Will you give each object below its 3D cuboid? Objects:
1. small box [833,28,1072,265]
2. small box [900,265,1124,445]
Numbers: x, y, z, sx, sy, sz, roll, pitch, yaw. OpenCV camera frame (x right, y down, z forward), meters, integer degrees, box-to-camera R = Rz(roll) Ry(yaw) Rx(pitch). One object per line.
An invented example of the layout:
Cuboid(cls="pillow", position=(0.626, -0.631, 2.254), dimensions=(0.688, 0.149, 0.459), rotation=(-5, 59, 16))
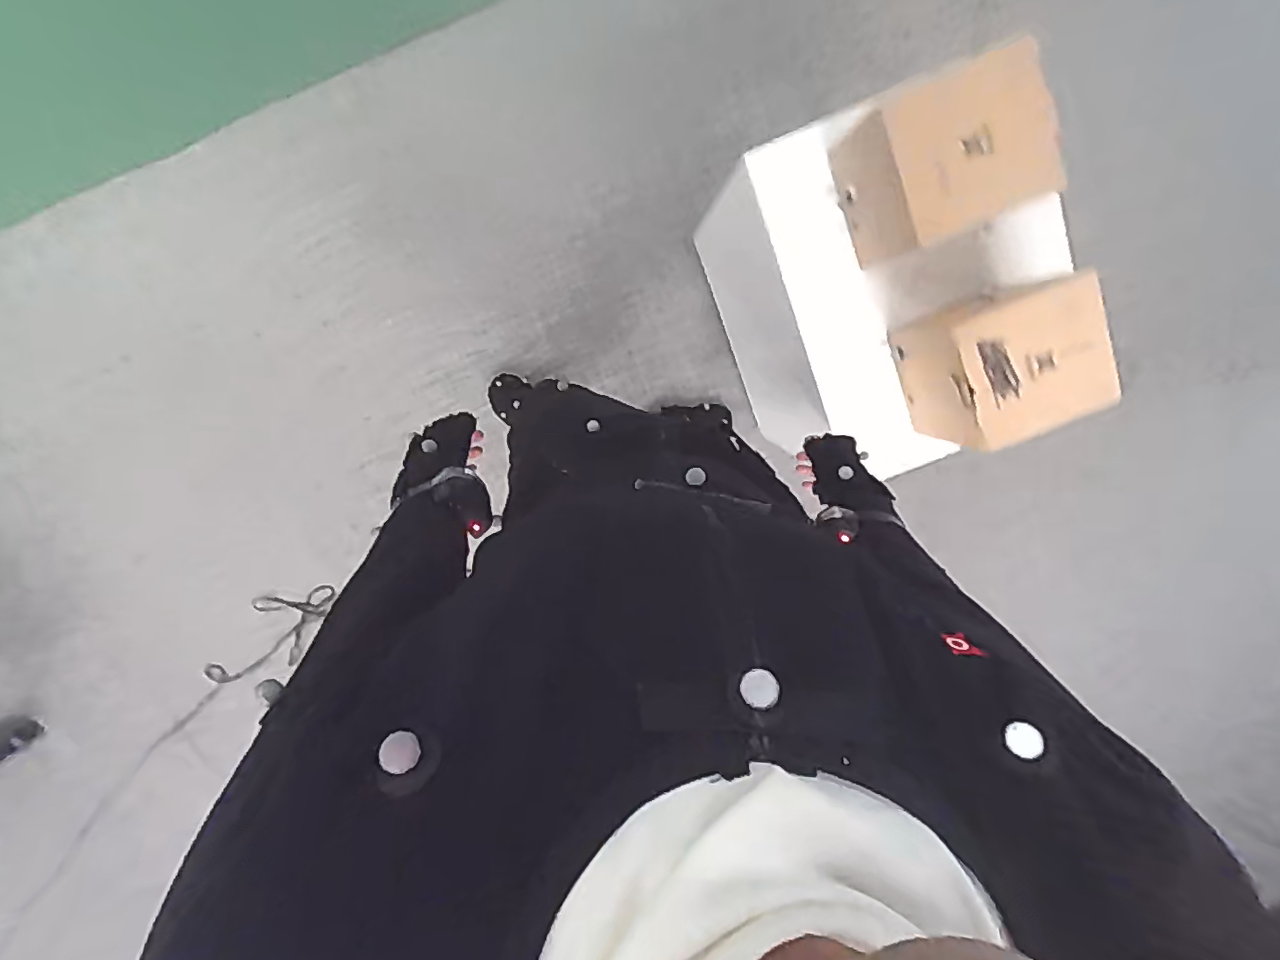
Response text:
Cuboid(cls="small box", position=(0.368, -0.387, 0.665), dimensions=(0.179, 0.176, 0.168), rotation=(-23, 103, 6))
Cuboid(cls="small box", position=(0.475, -0.162, 0.720), dimensions=(0.179, 0.176, 0.168), rotation=(-22, 103, 4))
